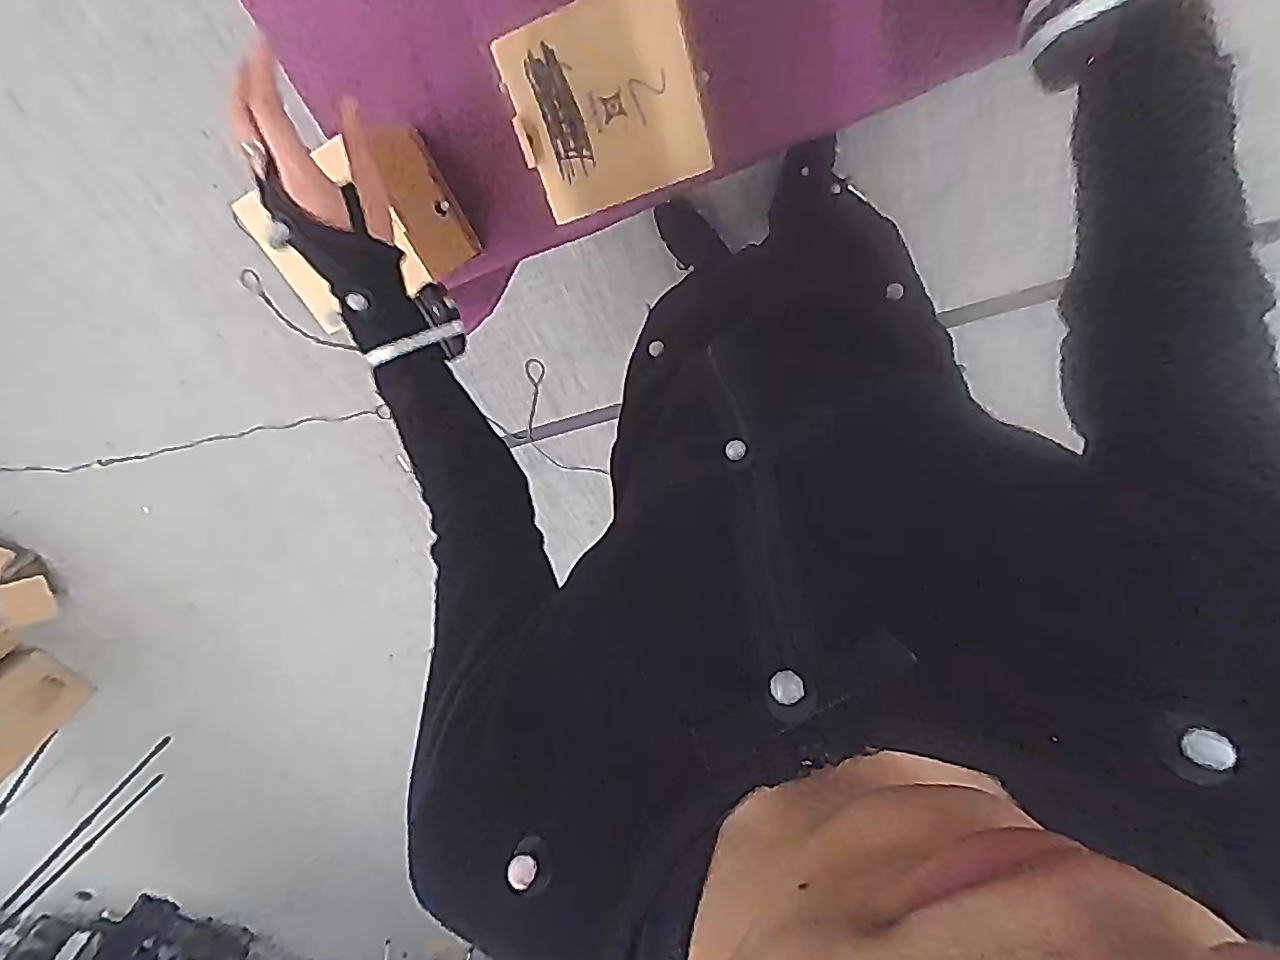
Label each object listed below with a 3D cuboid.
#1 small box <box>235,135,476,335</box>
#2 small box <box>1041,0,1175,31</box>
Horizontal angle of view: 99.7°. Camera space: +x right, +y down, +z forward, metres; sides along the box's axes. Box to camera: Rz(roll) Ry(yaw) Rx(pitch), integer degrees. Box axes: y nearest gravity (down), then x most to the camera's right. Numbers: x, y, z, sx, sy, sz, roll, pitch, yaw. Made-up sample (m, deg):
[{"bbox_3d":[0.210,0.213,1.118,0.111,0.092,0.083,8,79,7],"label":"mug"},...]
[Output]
[{"bbox_3d":[-0.343,-0.314,0.691,0.179,0.176,0.168,-18,120,18],"label":"small box"},{"bbox_3d":[0.461,-0.510,0.441,0.168,0.176,0.179,-12,123,16],"label":"small box"}]
